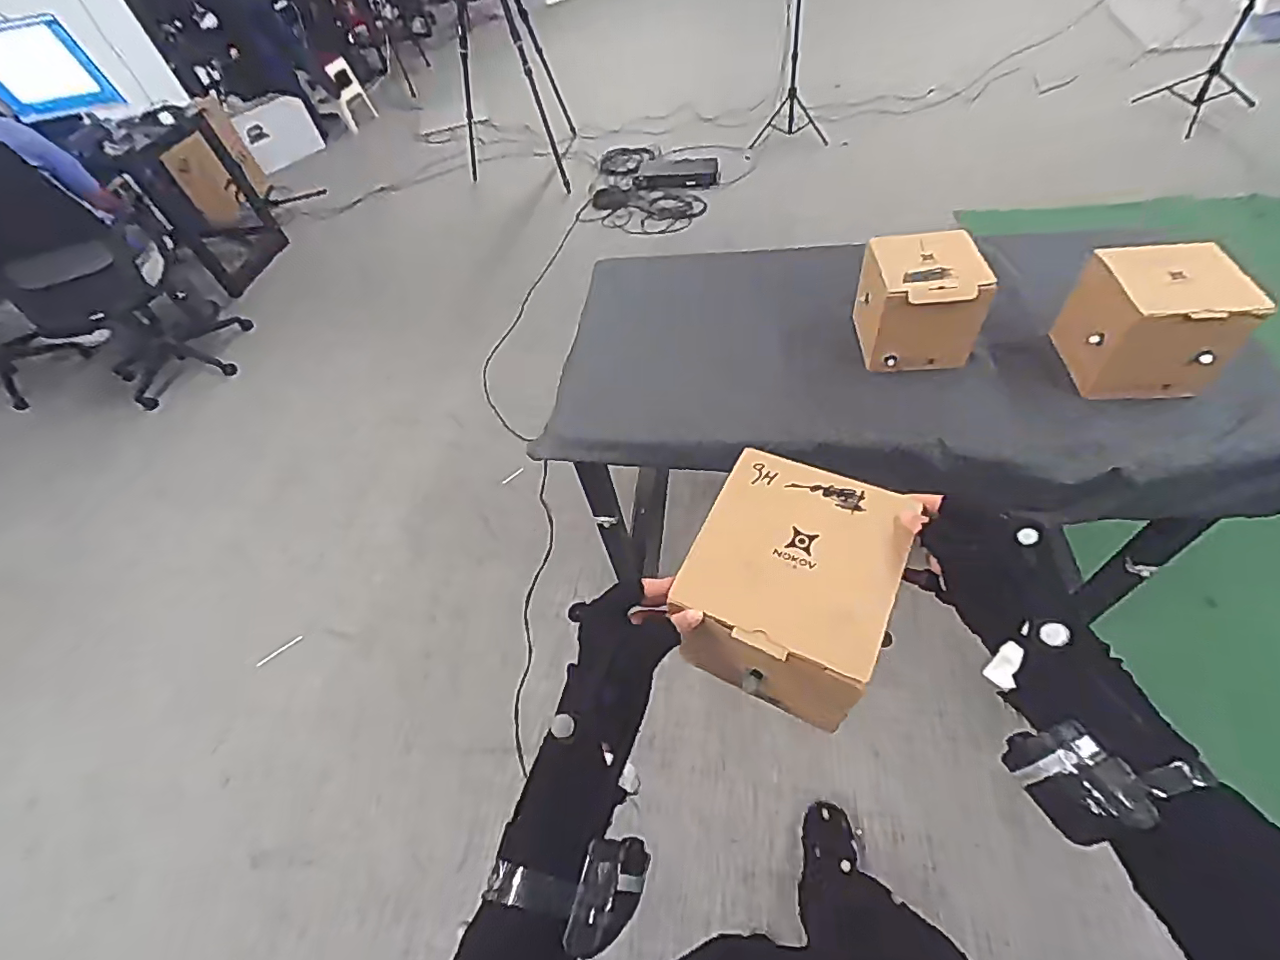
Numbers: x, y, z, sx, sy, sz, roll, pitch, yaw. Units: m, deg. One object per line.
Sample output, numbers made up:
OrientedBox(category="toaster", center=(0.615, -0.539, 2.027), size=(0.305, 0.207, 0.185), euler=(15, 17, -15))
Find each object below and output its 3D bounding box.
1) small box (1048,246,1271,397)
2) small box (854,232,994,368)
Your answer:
OrientedBox(category="small box", center=(0.802, -0.245, 0.862), size=(0.168, 0.176, 0.179), euler=(0, 51, 9))
OrientedBox(category="small box", center=(0.494, -0.314, 0.970), size=(0.168, 0.176, 0.179), euler=(-1, 51, 9))
